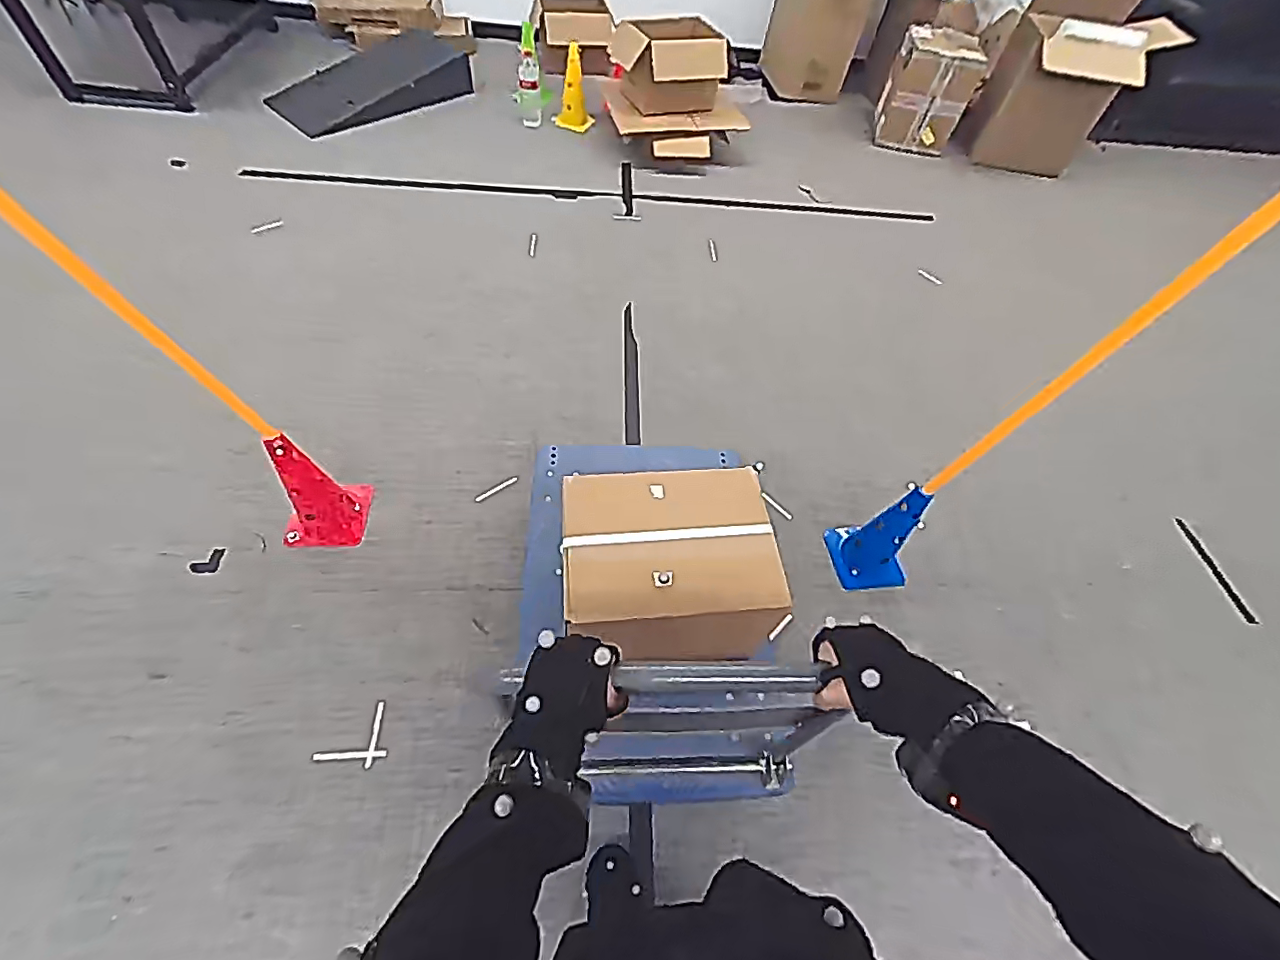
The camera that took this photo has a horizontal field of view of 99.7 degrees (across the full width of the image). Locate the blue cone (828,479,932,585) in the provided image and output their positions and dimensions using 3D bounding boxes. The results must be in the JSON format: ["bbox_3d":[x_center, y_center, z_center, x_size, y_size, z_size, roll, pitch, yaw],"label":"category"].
[{"bbox_3d":[0.687,0.128,1.474,0.193,0.380,0.192,-2,55,-8],"label":"blue cone"}]
